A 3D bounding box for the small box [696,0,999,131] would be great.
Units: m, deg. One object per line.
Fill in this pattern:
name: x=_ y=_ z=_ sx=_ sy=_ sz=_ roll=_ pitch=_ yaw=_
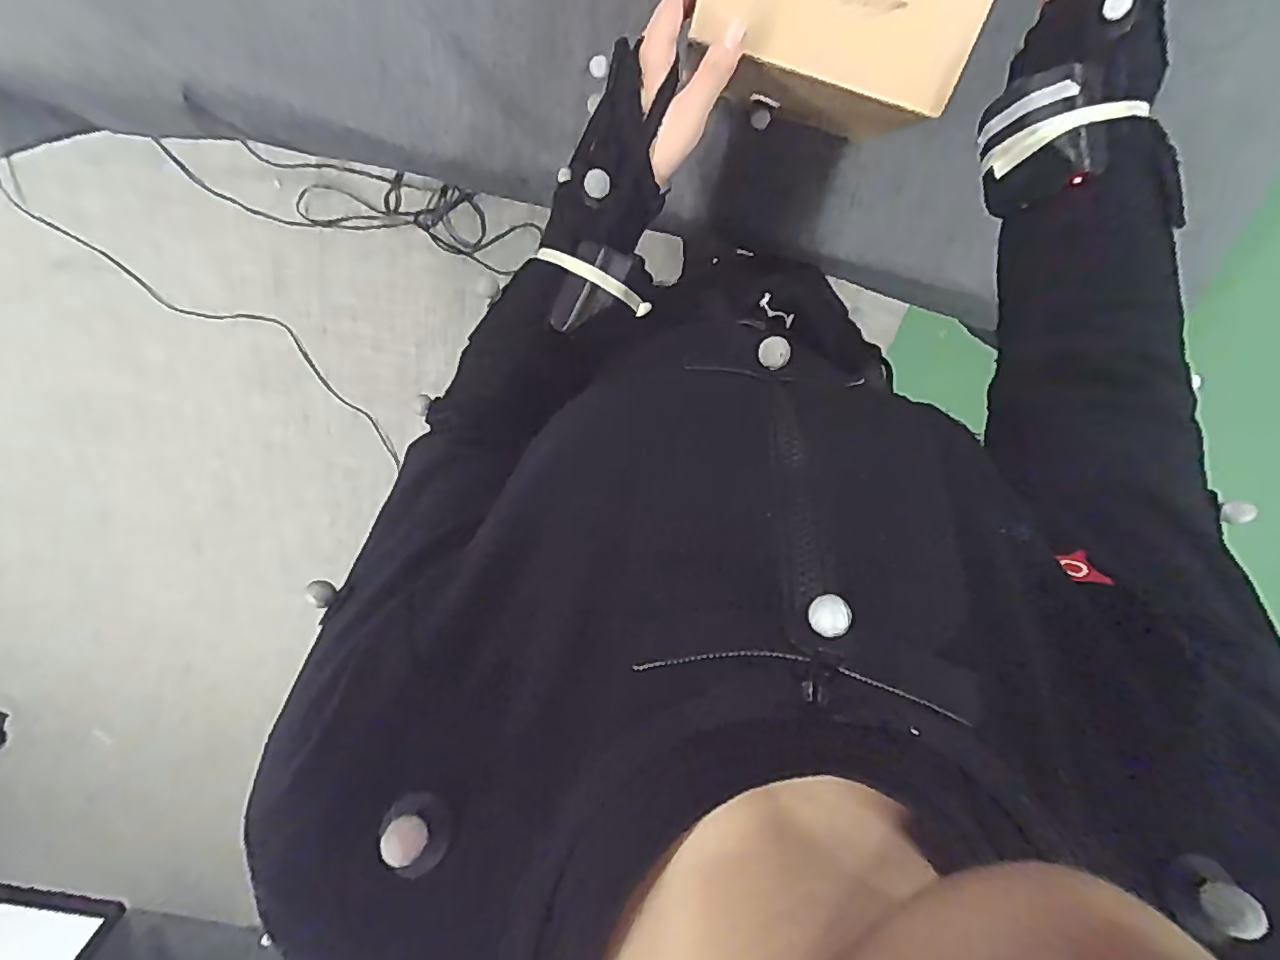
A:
small box: x=0.135 y=-0.354 z=0.353 sx=0.168 sy=0.176 sz=0.179 roll=15 pitch=119 yaw=-3
